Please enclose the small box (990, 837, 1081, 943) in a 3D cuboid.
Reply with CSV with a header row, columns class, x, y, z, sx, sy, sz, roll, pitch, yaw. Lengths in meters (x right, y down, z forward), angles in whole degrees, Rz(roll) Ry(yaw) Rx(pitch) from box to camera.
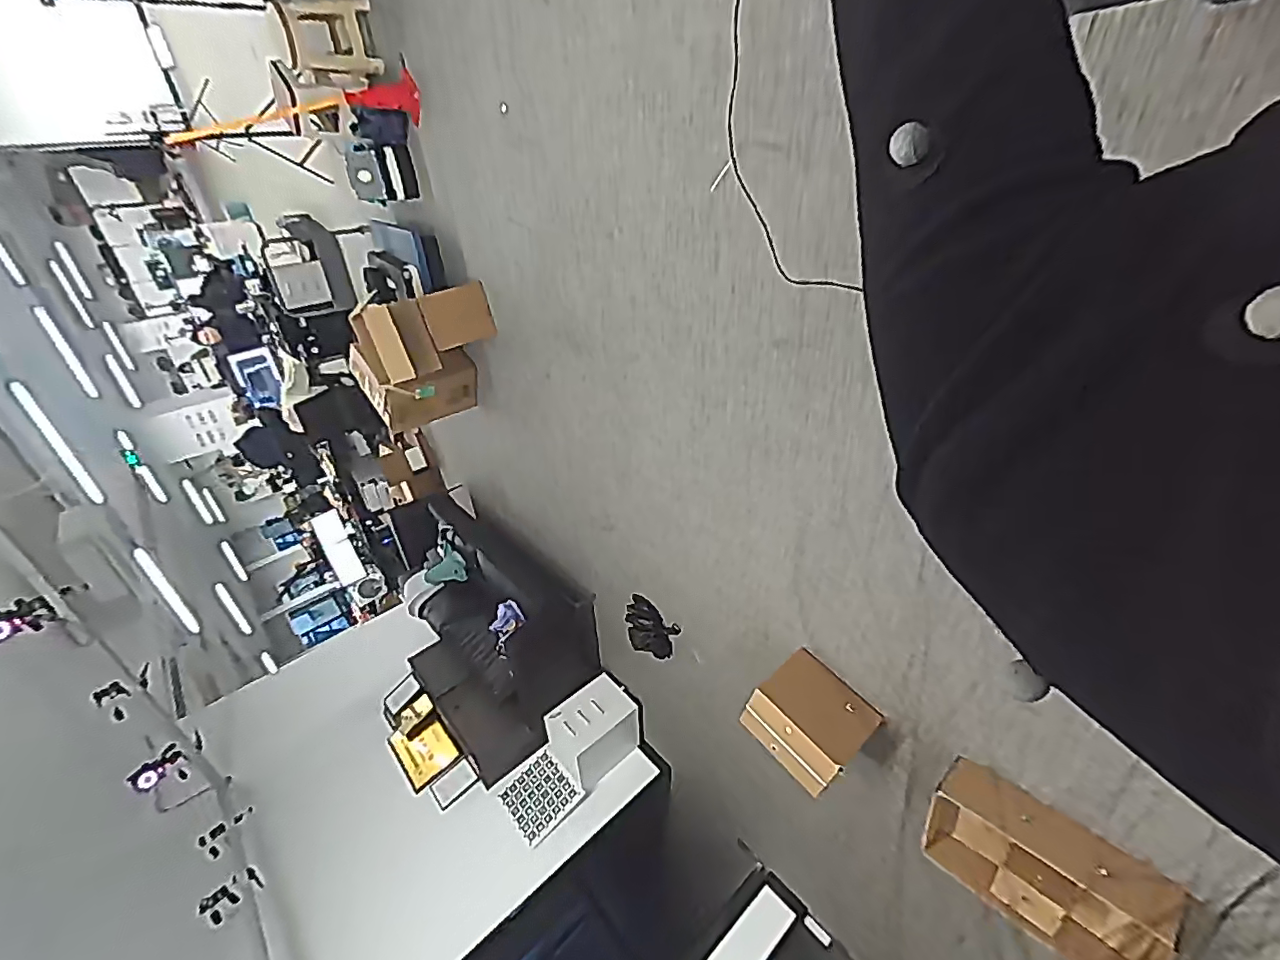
class,x,y,z,sx,sy,sz,roll,pitch,yaw
small box,1.255,1.291,1.714,0.179,0.176,0.168,26,132,45
